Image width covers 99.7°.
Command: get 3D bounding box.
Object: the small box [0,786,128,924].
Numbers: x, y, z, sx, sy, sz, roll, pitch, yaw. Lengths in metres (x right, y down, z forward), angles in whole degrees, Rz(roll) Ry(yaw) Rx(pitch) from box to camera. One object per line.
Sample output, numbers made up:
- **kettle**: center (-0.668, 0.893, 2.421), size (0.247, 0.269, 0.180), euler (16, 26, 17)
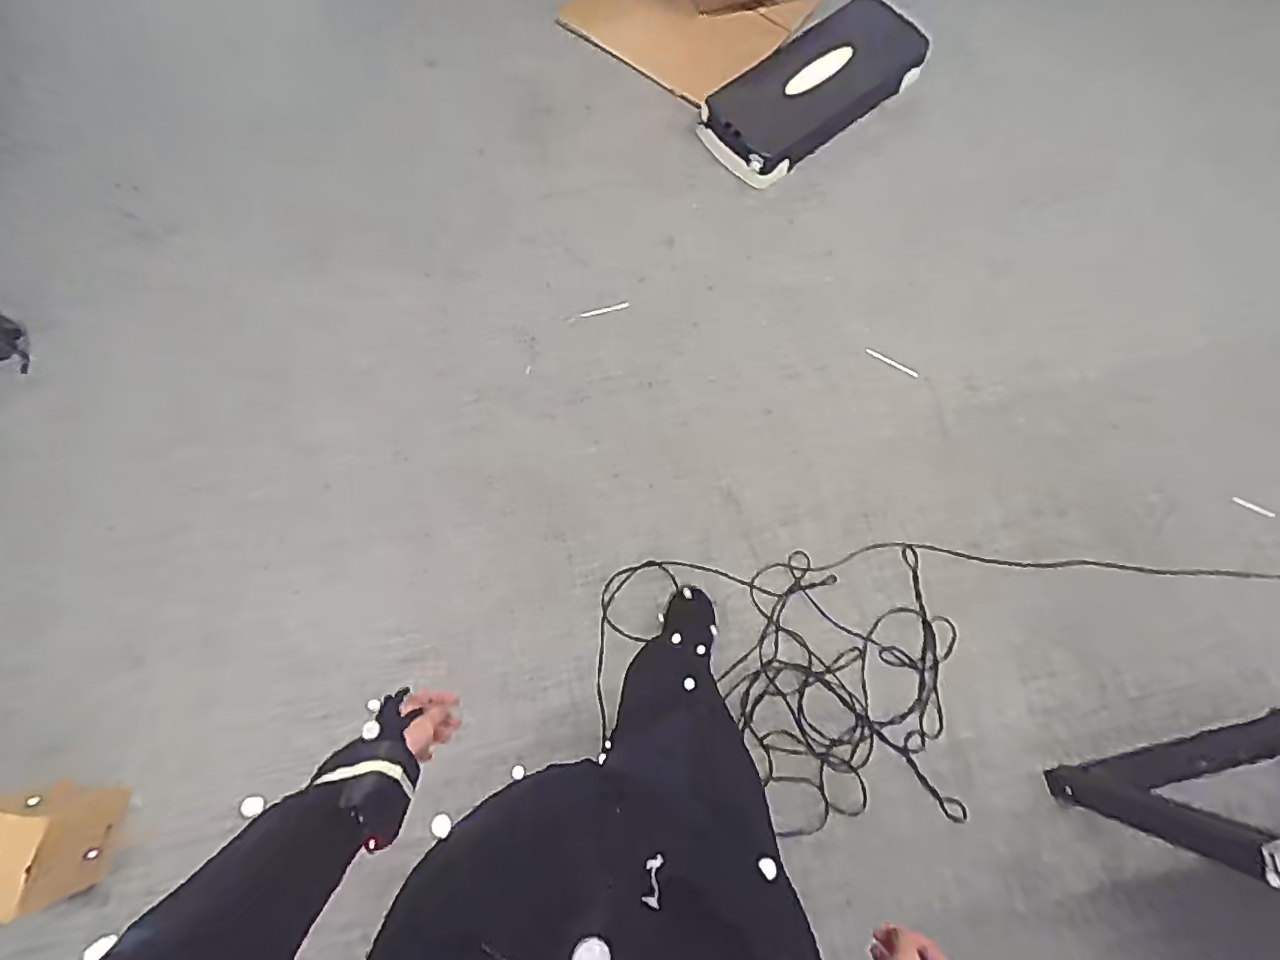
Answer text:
- **small box**: center (-1.173, 0.711, 1.046), size (0.179, 0.176, 0.168), euler (6, 75, 2)
